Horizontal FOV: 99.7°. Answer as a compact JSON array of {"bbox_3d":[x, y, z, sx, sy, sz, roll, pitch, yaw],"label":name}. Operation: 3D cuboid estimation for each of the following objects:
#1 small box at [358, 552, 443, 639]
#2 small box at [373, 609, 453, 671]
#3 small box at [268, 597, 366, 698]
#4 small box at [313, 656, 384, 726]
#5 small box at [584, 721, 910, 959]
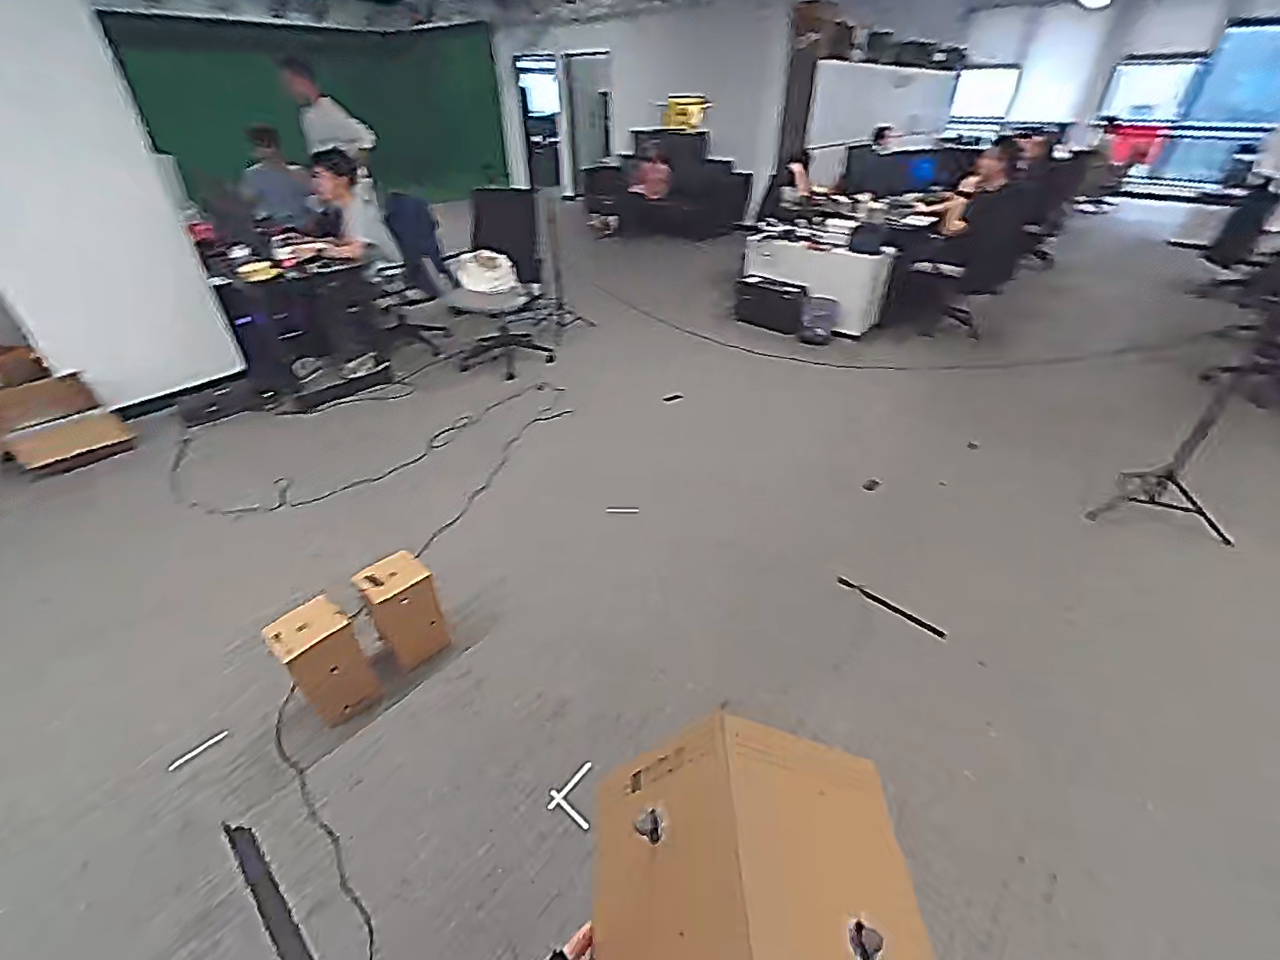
[{"bbox_3d":[-0.749,0.365,1.705,0.168,0.176,0.179,29,43,34],"label":"small box"},{"bbox_3d":[-0.750,0.498,1.802,0.168,0.176,0.179,29,44,35],"label":"small box"},{"bbox_3d":[-0.913,0.478,1.548,0.168,0.176,0.179,27,44,33],"label":"small box"},{"bbox_3d":[-0.914,0.608,1.647,0.179,0.176,0.168,28,45,33],"label":"small box"},{"bbox_3d":[0.074,0.306,0.411,0.179,0.168,0.176,27,35,-24],"label":"small box"}]
